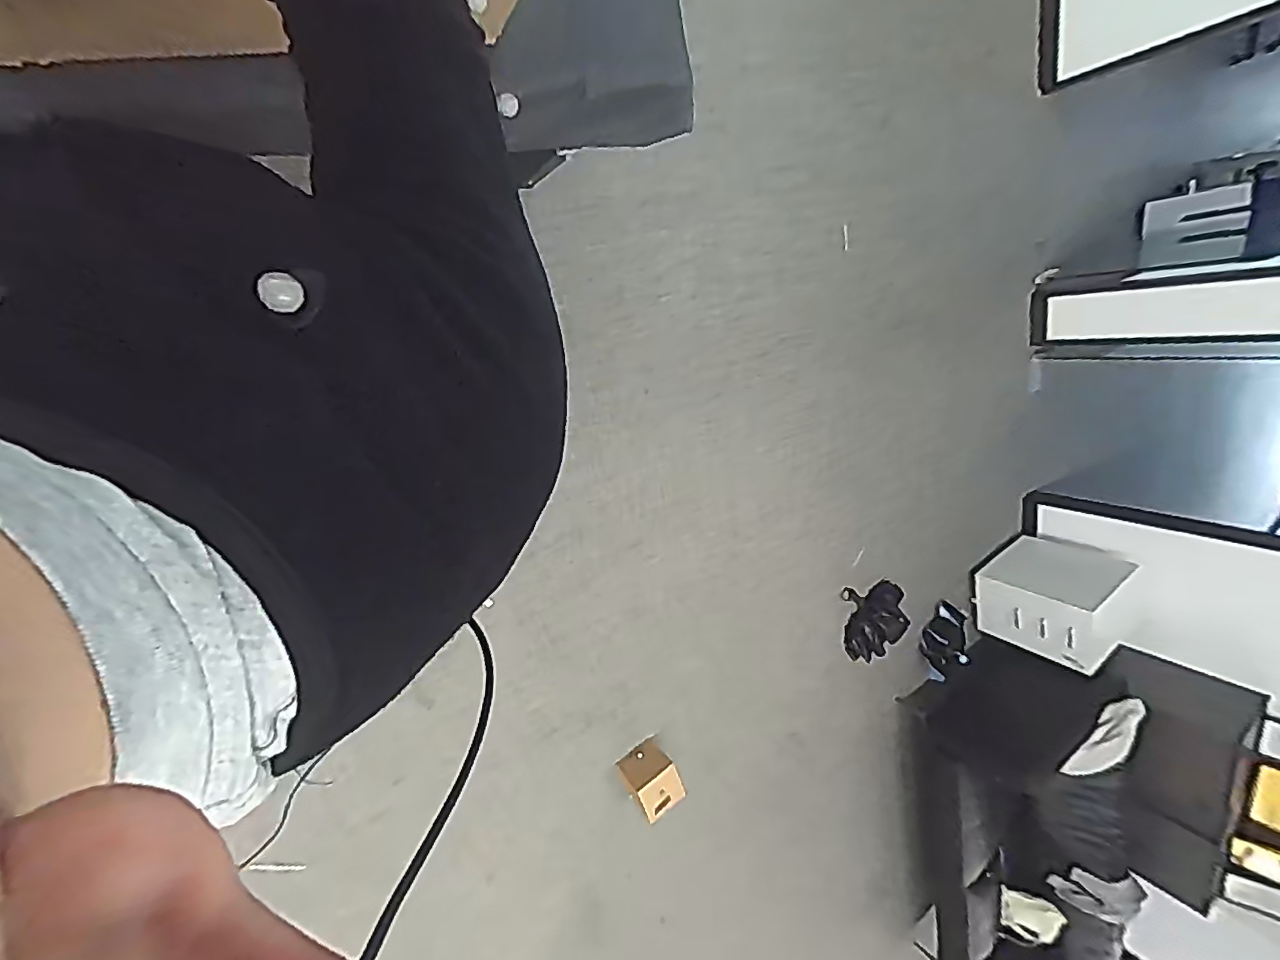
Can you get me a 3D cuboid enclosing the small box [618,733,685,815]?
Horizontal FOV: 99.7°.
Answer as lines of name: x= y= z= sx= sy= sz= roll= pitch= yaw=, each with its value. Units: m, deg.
small box: x=0.041 y=1.103 z=2.042 sx=0.168 sy=0.176 sz=0.179 roll=-29 pitch=114 yaw=-24
